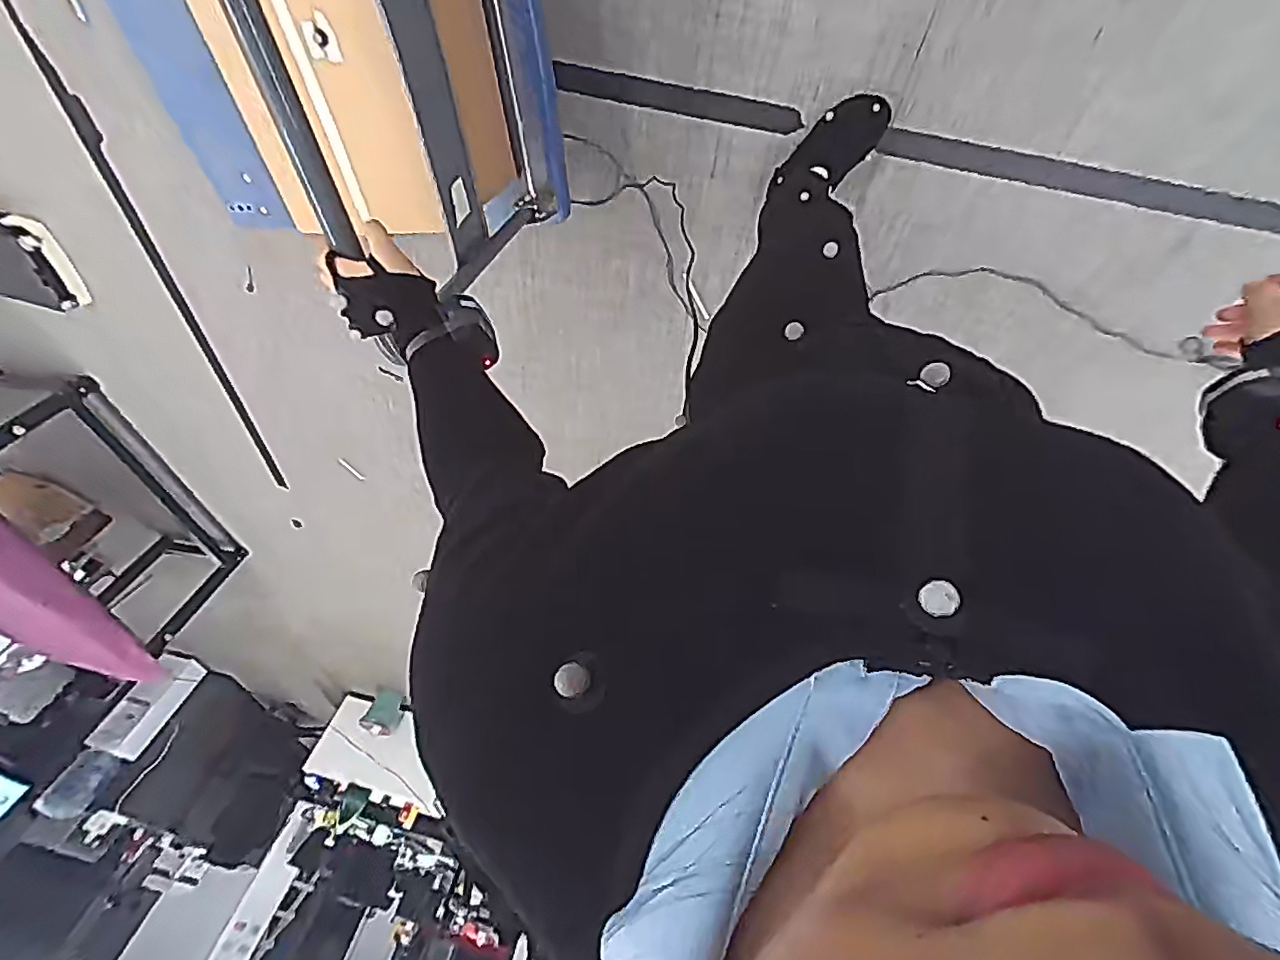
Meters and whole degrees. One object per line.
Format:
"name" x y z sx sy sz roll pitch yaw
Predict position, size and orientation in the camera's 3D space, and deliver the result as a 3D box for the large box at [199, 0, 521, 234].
"large box" -0.443 -0.685 0.933 0.320 0.320 0.408 4 134 11
